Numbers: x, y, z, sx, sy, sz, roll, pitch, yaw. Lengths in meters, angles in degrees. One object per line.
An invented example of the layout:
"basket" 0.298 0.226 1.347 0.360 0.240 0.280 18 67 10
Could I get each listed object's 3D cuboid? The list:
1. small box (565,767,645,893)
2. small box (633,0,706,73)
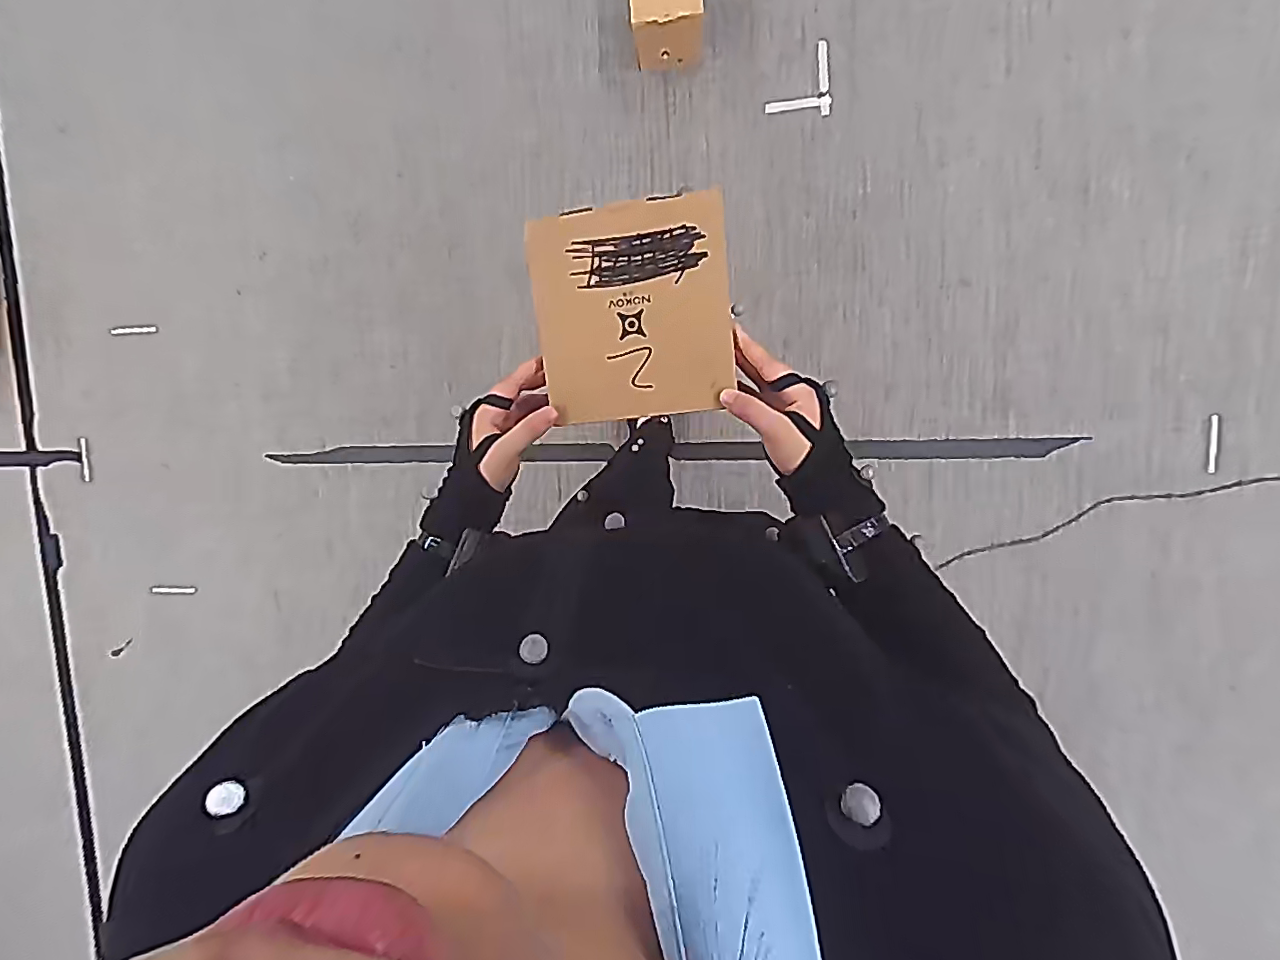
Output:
"small box" -0.077 0.814 1.269 0.168 0.176 0.179 1 95 6
"small box" 0.070 -1.123 1.288 0.168 0.176 0.179 -3 95 7
